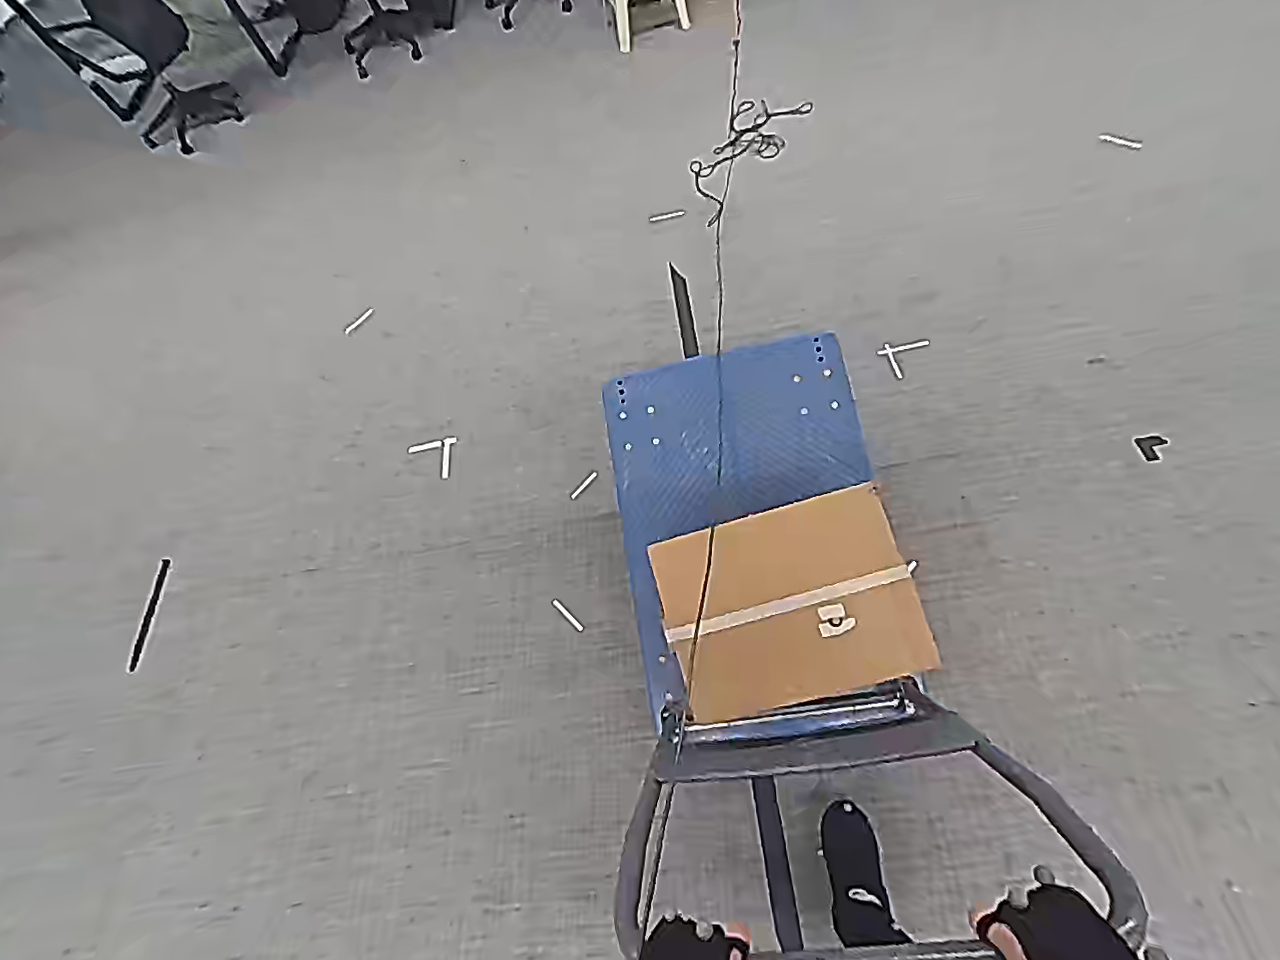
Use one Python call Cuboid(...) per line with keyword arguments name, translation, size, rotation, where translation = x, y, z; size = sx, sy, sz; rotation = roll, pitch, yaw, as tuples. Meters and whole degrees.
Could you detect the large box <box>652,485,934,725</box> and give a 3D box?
Cuboid(name="large box", translation=(0.269, 0.237, 1.063), size=(0.408, 0.320, 0.320), rotation=(-17, 79, 5))
